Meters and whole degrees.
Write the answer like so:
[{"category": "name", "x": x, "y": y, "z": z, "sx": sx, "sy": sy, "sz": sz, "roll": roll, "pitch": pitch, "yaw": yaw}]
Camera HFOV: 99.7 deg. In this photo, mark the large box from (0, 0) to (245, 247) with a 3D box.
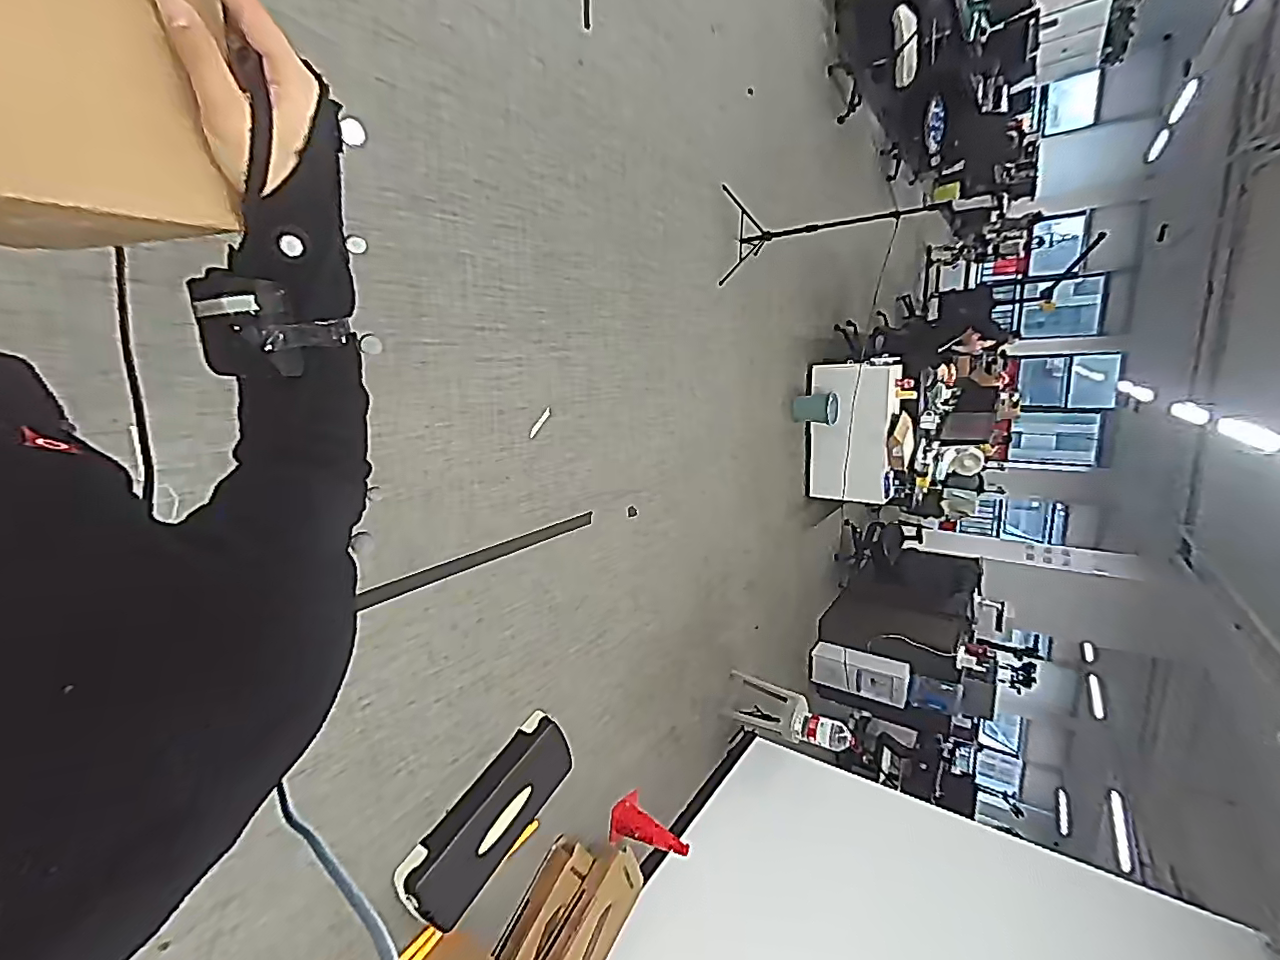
[{"category": "large box", "x": -0.471, "y": -0.280, "z": 0.202, "sx": 0.408, "sy": 0.320, "sz": 0.320, "roll": -24, "pitch": 121, "yaw": -56}]
